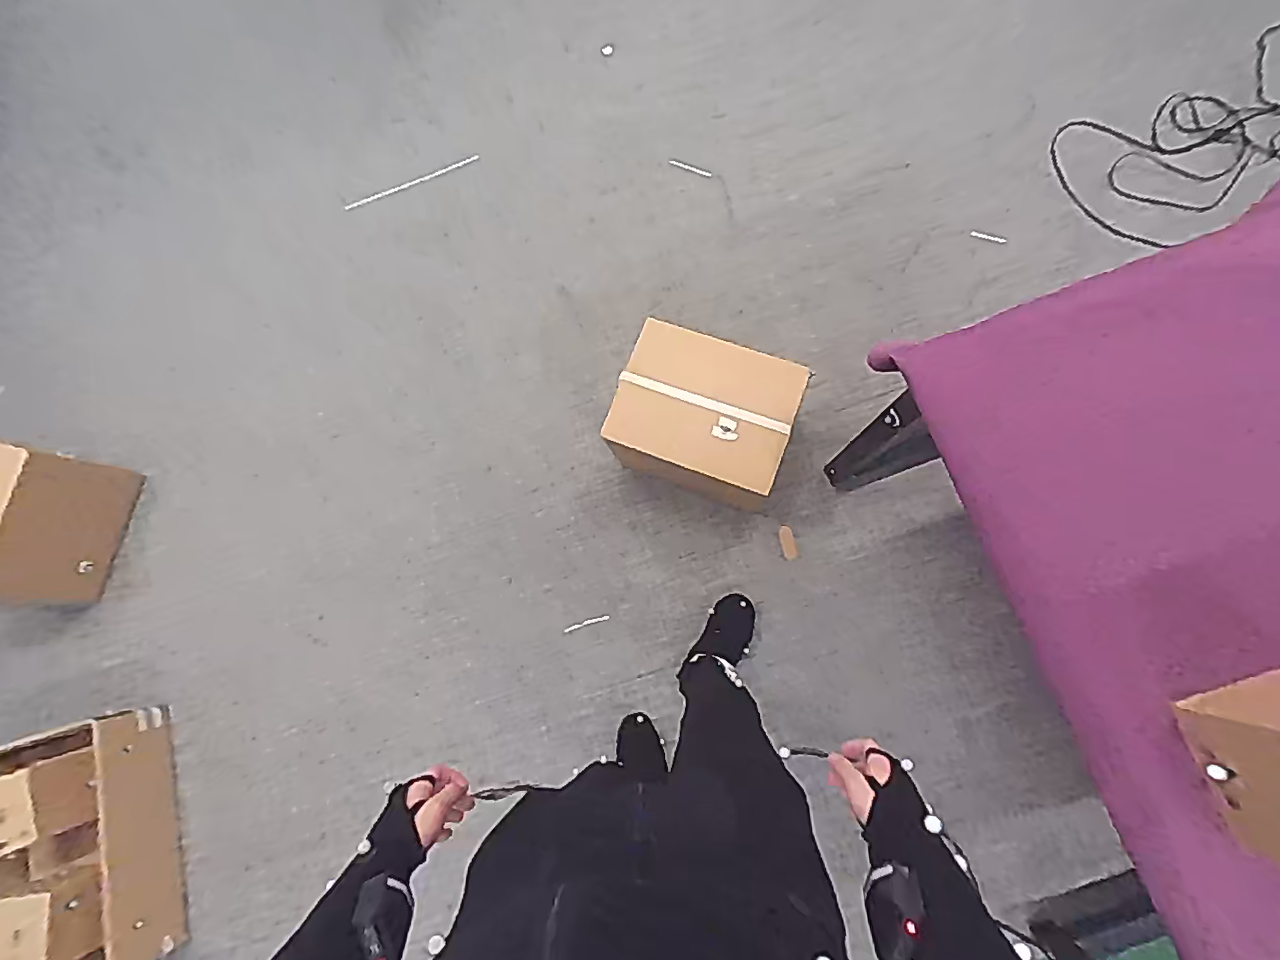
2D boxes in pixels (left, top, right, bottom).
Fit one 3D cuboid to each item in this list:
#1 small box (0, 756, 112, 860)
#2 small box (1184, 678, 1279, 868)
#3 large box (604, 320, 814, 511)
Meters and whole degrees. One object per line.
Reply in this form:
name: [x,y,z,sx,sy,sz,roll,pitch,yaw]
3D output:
small box: [-1.516,0.830,1.382,0.168,0.176,0.179,-23,77,1]
small box: [0.715,0.293,0.523,0.179,0.176,0.168,-18,77,2]
large box: [0.166,-0.146,1.355,0.408,0.320,0.320,20,83,9]
